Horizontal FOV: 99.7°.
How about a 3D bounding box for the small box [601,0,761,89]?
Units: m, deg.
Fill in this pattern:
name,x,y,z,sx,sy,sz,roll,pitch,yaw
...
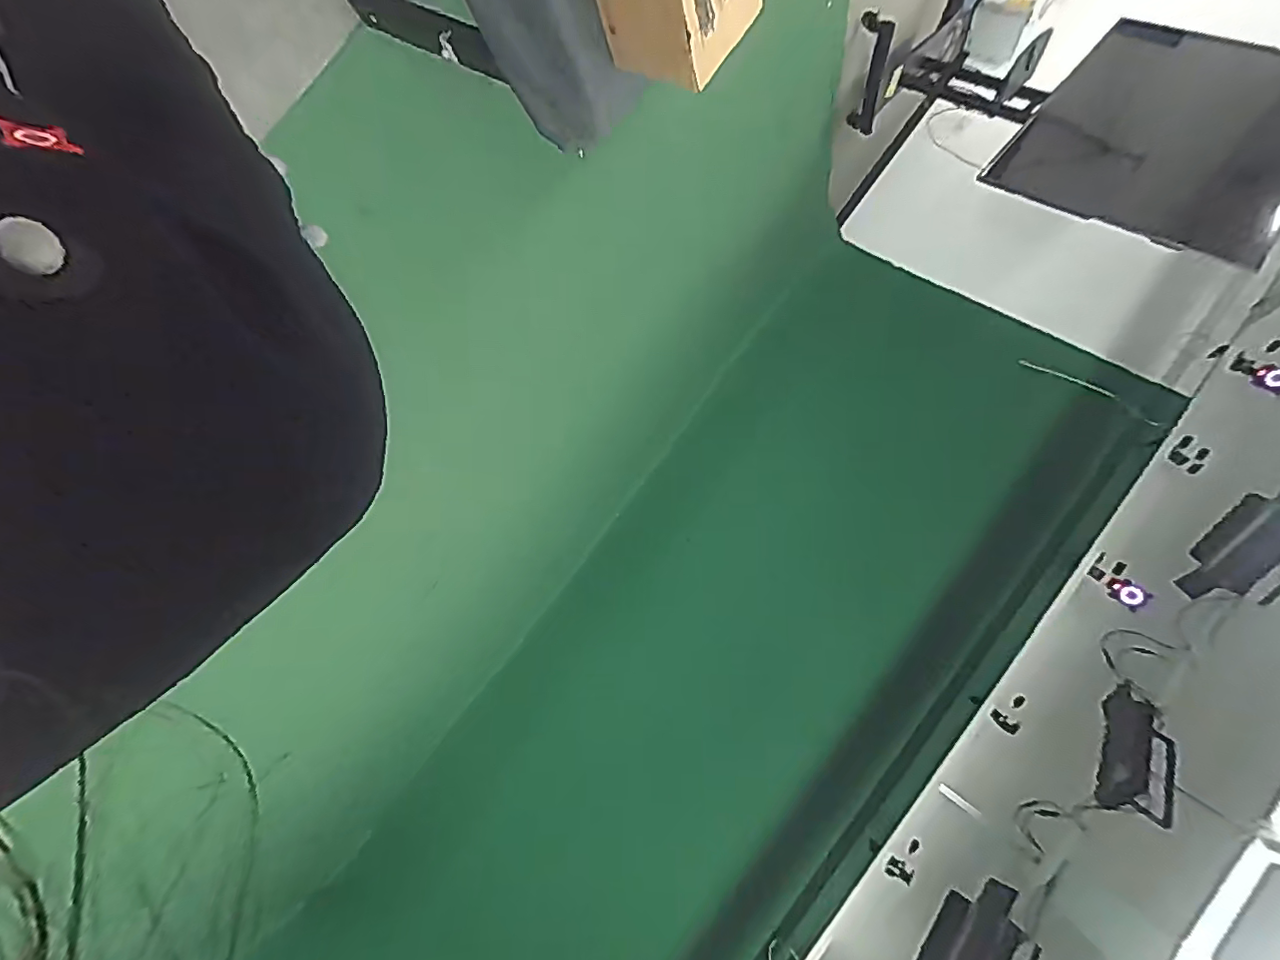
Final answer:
name,x,y,z,sx,sy,sz,roll,pitch,yaw
small box,0.051,-0.715,0.771,0.179,0.176,0.168,-55,159,-5
